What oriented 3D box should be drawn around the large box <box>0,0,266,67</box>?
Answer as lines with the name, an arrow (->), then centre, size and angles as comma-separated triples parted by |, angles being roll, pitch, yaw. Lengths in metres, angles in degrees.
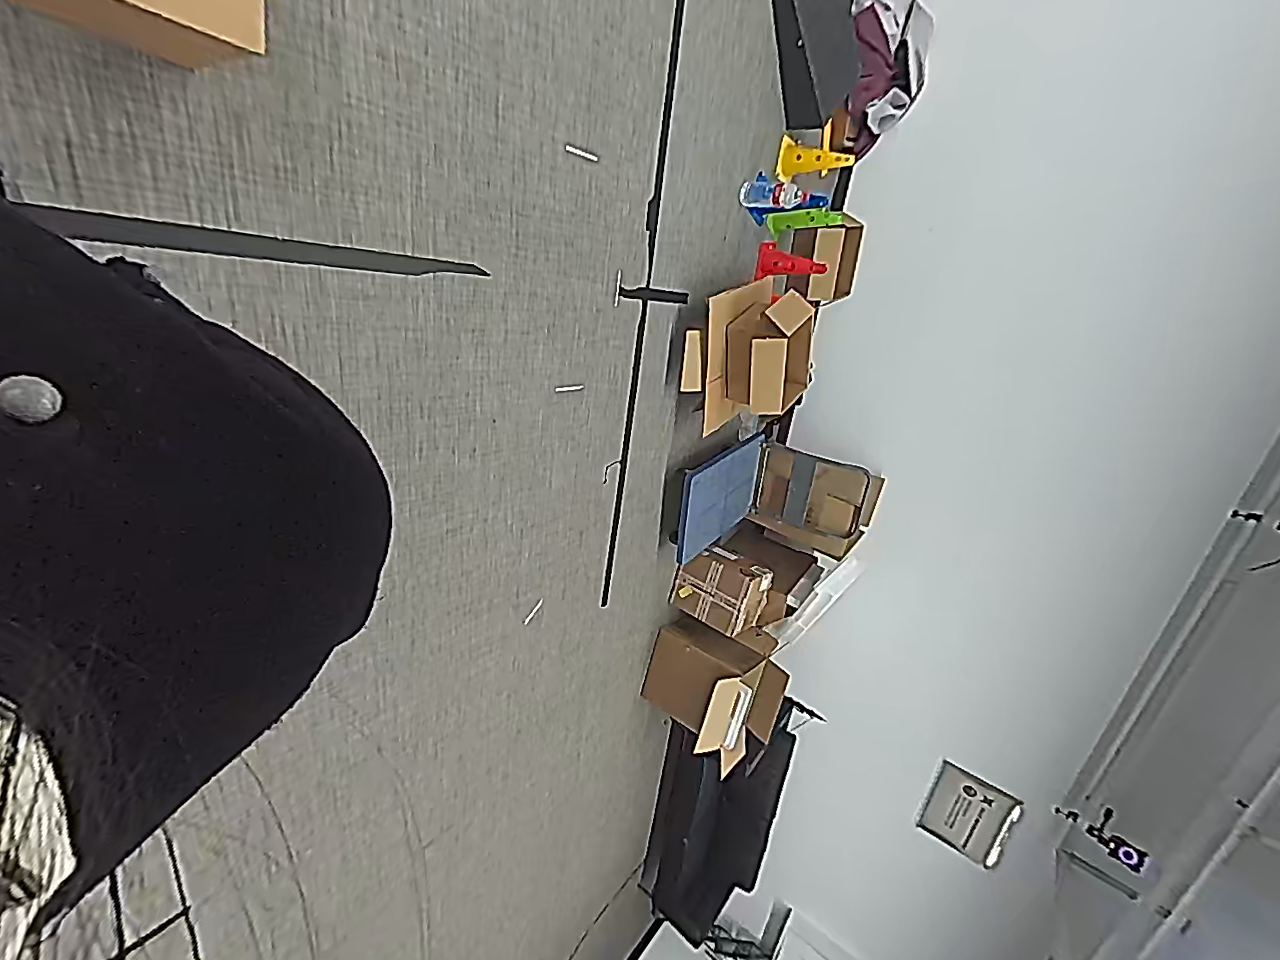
large box -> -0.820, -0.844, 0.748 | 0.408, 0.320, 0.320 | -17, 122, -53
